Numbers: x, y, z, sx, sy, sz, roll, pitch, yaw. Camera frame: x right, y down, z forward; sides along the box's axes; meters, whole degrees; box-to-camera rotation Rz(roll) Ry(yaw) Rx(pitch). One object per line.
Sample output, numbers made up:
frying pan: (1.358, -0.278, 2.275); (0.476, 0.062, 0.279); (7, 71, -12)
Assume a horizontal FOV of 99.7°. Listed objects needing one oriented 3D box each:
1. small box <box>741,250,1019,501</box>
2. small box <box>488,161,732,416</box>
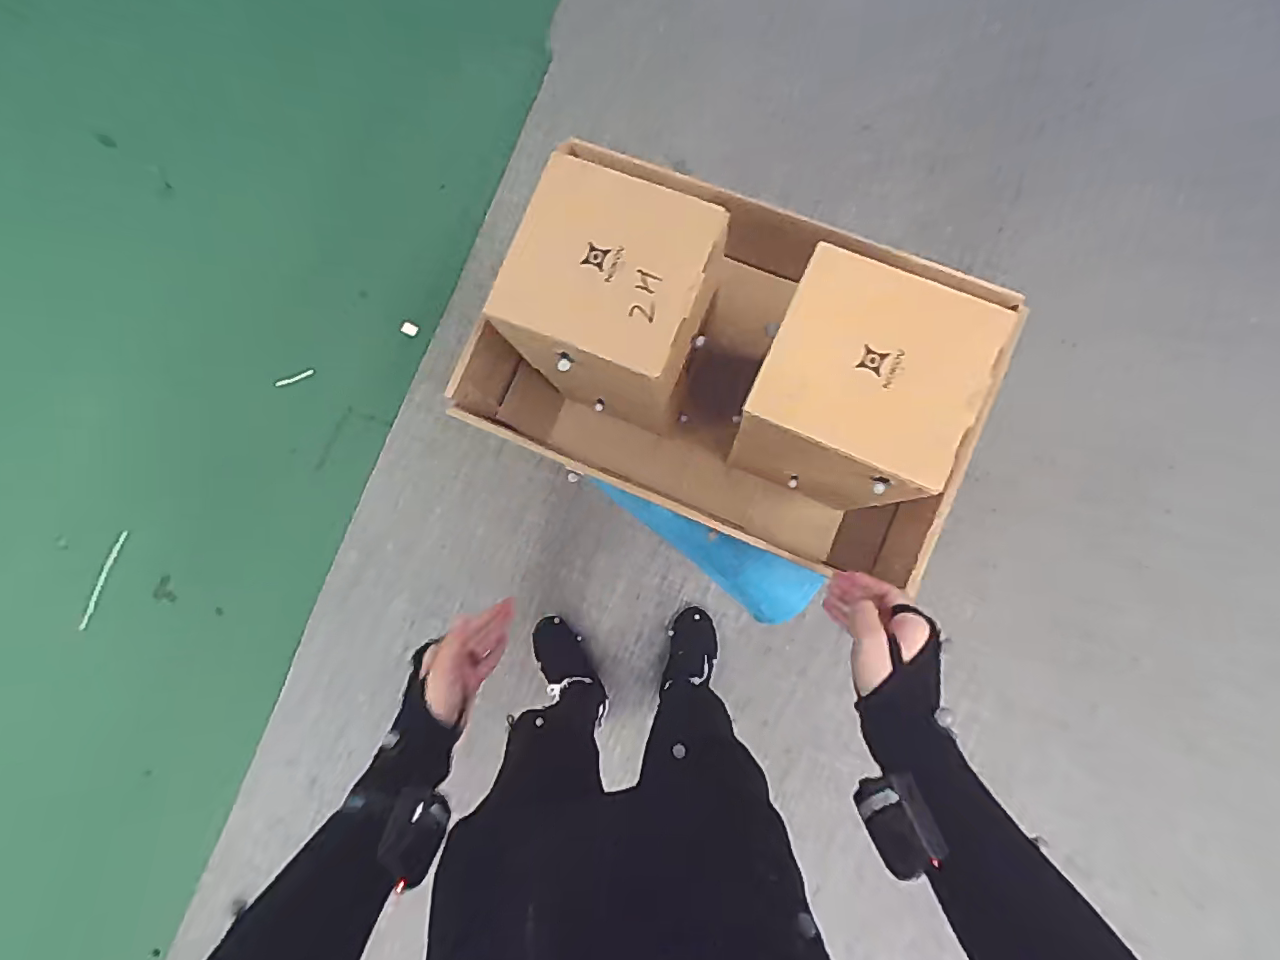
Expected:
small box: (0.211, -0.085, 0.533); (0.179, 0.176, 0.168); (24, 87, 8)
small box: (-0.022, -0.181, 0.563); (0.179, 0.176, 0.168); (23, 87, 7)
